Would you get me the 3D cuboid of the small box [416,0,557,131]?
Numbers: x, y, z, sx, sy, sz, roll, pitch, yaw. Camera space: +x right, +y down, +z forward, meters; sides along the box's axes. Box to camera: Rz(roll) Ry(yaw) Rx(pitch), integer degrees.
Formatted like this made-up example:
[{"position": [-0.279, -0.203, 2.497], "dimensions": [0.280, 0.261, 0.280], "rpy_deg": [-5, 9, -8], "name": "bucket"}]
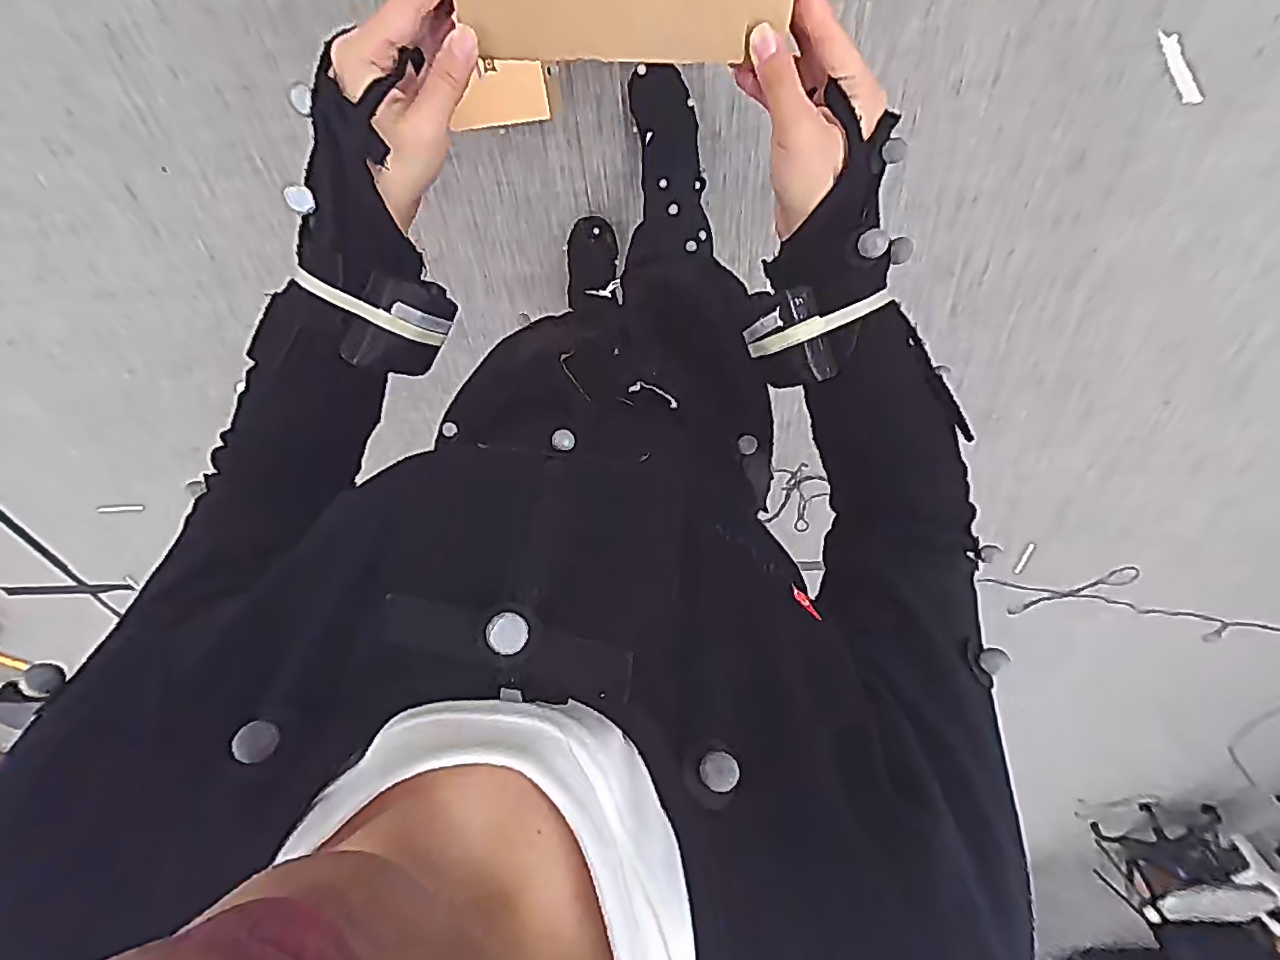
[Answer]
[{"position": [-0.241, -0.705, 0.909], "dimensions": [0.179, 0.176, 0.168], "rpy_deg": [-4, 131, 5], "name": "small box"}]
